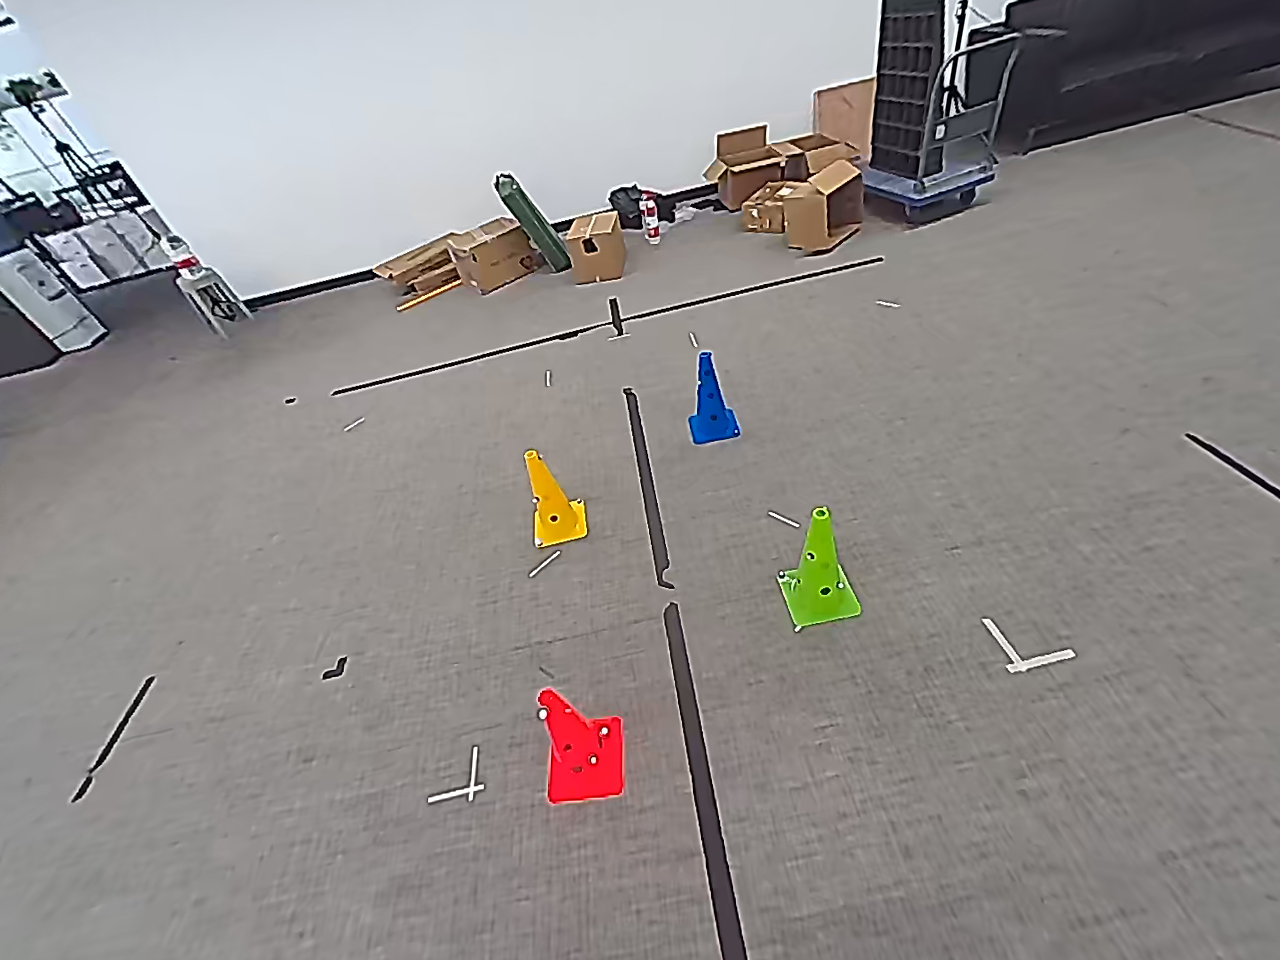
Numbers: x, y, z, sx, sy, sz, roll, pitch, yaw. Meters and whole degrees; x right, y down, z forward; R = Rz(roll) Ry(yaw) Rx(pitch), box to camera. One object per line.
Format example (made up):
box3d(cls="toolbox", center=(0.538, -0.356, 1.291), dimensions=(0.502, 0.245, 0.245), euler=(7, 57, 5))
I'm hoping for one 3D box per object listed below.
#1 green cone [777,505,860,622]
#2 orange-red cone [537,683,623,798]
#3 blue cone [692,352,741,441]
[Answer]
box3d(cls="green cone", center=(0.507, 0.212, 1.524), dimensions=(0.202, 0.368, 0.200), euler=(-11, 42, 2))
box3d(cls="orange-red cone", center=(-0.178, 0.595, 1.306), dimensions=(0.199, 0.360, 0.198), euler=(-10, 40, 6))
box3d(cls="blue cone", center=(0.298, -0.354, 2.218), dimensions=(0.192, 0.380, 0.193), euler=(-9, 42, 5))
